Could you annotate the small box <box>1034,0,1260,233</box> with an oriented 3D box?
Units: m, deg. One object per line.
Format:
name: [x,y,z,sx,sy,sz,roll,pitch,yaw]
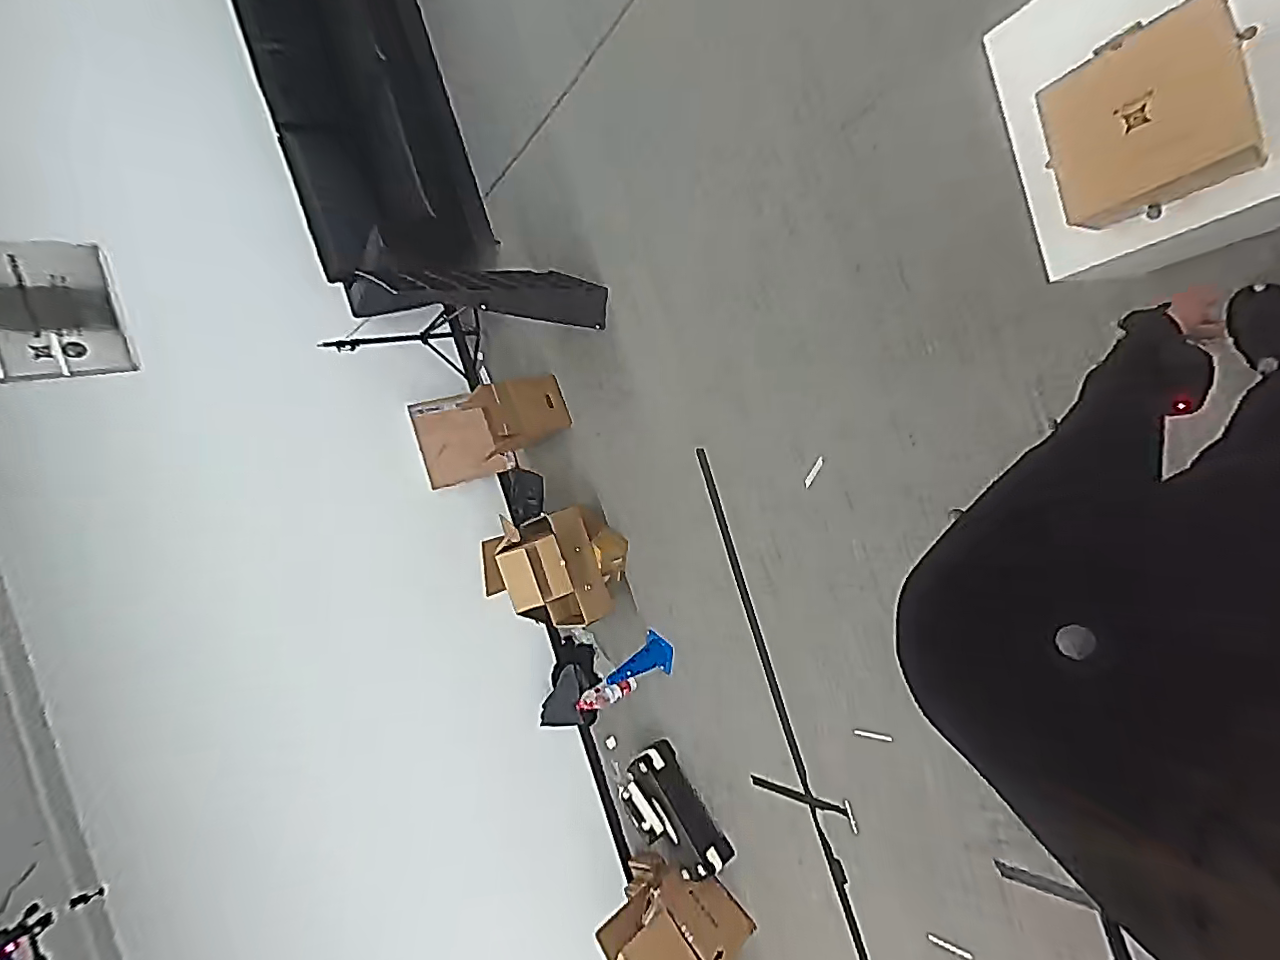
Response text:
small box: [0.628,-0.430,0.671,0.168,0.176,0.179,-13,92,53]
